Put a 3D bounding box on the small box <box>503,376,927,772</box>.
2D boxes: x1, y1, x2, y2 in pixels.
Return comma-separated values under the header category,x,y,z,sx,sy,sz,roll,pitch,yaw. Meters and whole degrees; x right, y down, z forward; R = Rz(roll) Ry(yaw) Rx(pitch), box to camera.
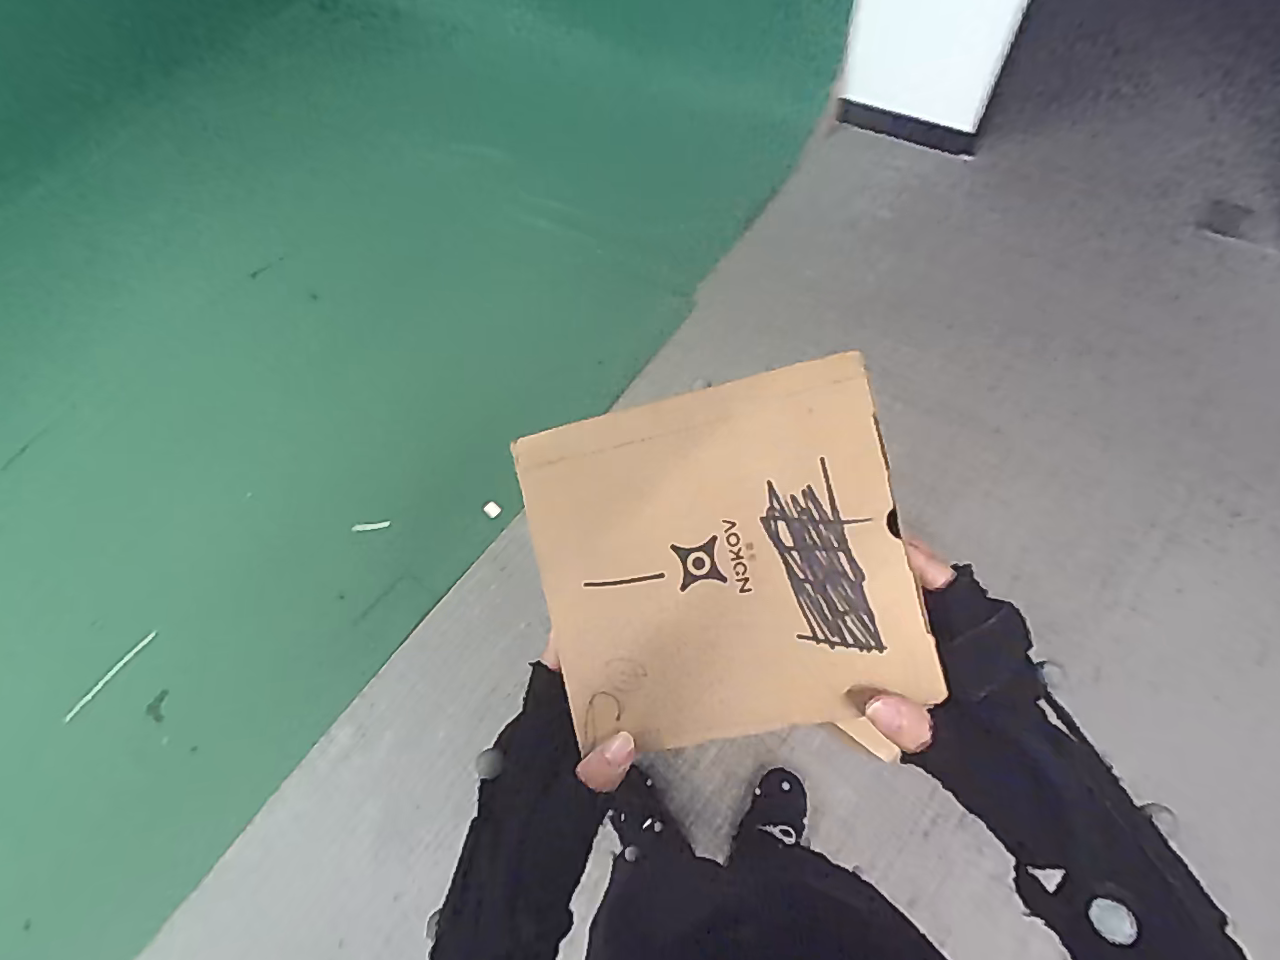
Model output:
category,x,y,z,sx,sy,sz,roll,pitch,yaw
small box,0.042,0.046,0.338,0.179,0.176,0.168,-13,88,8
